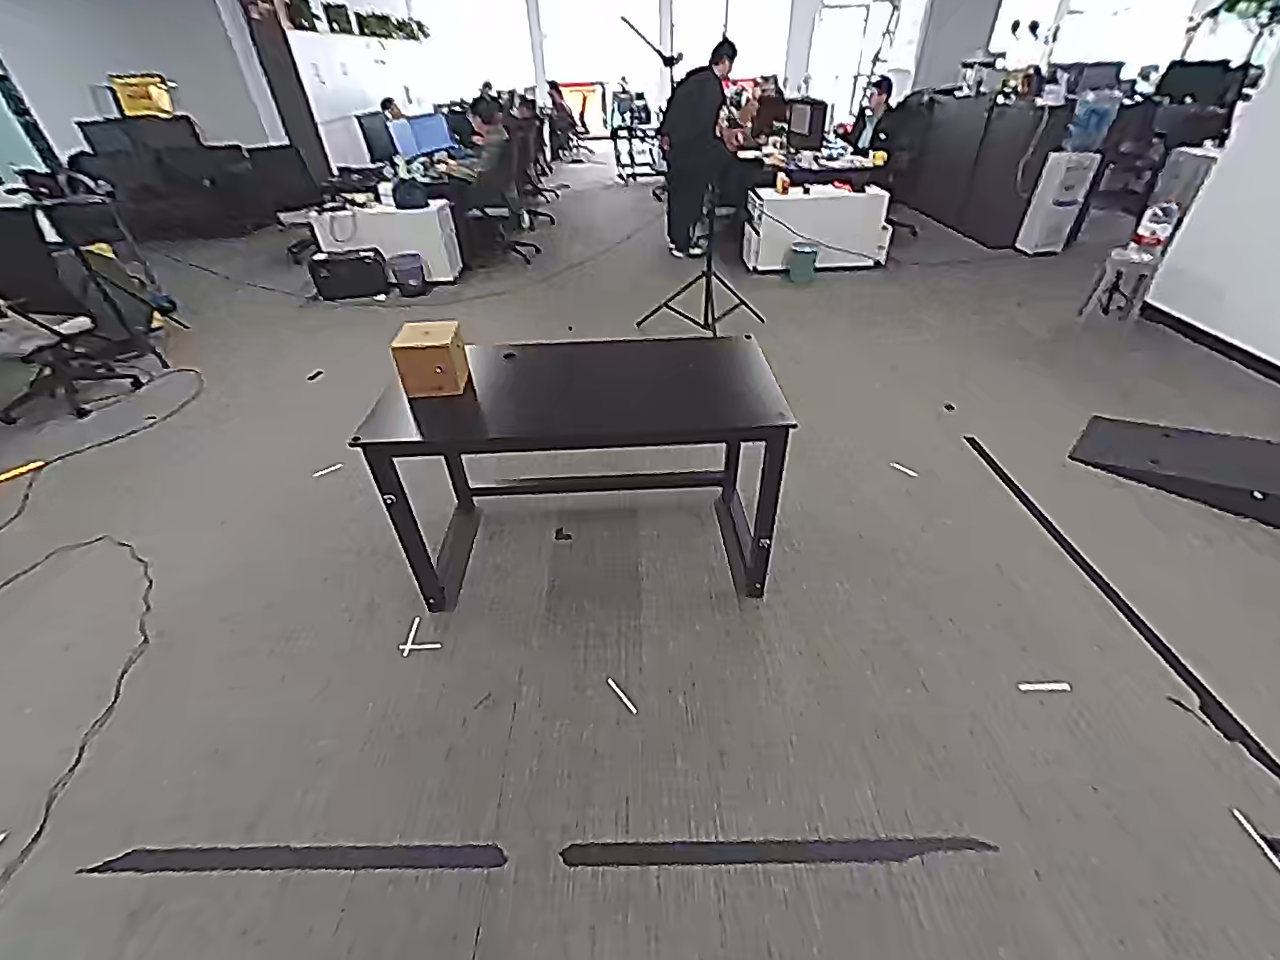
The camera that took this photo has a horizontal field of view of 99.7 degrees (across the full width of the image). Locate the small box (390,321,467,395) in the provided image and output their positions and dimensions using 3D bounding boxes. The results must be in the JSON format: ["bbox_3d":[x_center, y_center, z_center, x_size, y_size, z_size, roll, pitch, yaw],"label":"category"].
[{"bbox_3d":[-0.634,-0.368,1.643,0.168,0.176,0.179,-4,37,-5],"label":"small box"}]
